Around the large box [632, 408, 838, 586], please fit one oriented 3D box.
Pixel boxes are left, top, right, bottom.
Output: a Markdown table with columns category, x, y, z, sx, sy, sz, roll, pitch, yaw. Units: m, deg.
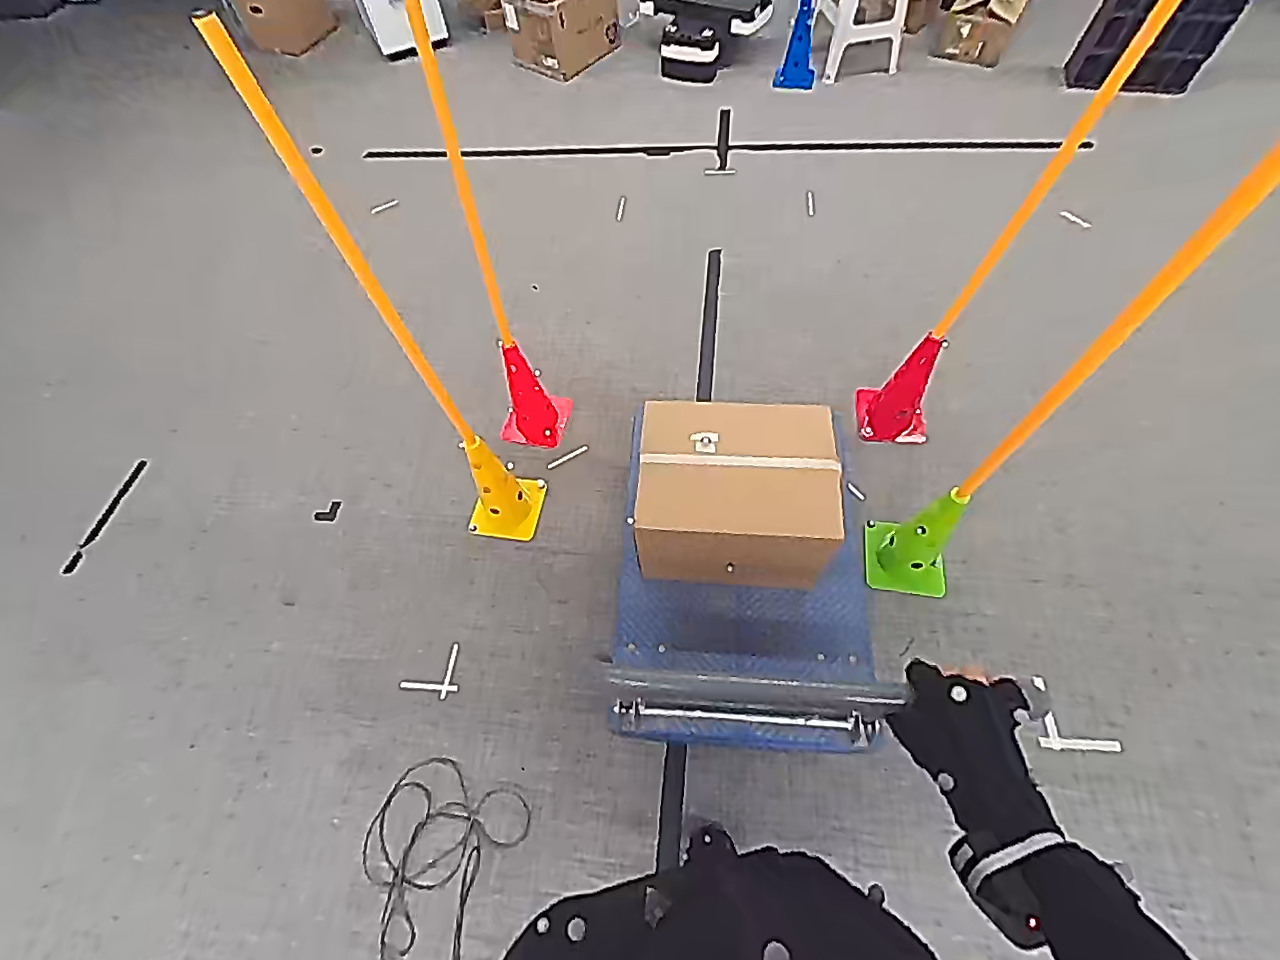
| category | x | y | z | sx | sy | sz | roll | pitch | yaw |
| --- | --- | --- | --- | --- | --- | --- | --- | --- | --- |
| large box | 0.204 | 0.048 | 1.244 | 0.408 | 0.320 | 0.320 | 2 | 61 | 6 |

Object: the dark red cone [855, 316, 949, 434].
| category | x | y | z | sx | sy | sz | roll | pitch | yaw |
| --- | --- | --- | --- | --- | --- | --- | --- | --- | --- |
| dark red cone | 0.777 | -0.310 | 1.552 | 0.201 | 0.394 | 0.202 | 4 | 61 | 4 |

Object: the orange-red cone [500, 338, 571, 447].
| category | x | y | z | sx | sy | sz | roll | pitch | yaw |
| --- | --- | --- | --- | --- | --- | --- | --- | --- | --- |
| orange-red cone | -0.353 | -0.292 | 1.646 | 0.198 | 0.360 | 0.199 | 11 | 60 | 9 |

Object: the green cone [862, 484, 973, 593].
| category | x | y | z | sx | sy | sz | roll | pitch | yaw |
| --- | --- | --- | --- | --- | --- | --- | --- | --- | --- |
| green cone | 0.707 | 0.118 | 1.331 | 0.202 | 0.368 | 0.200 | 7 | 61 | 7 |
